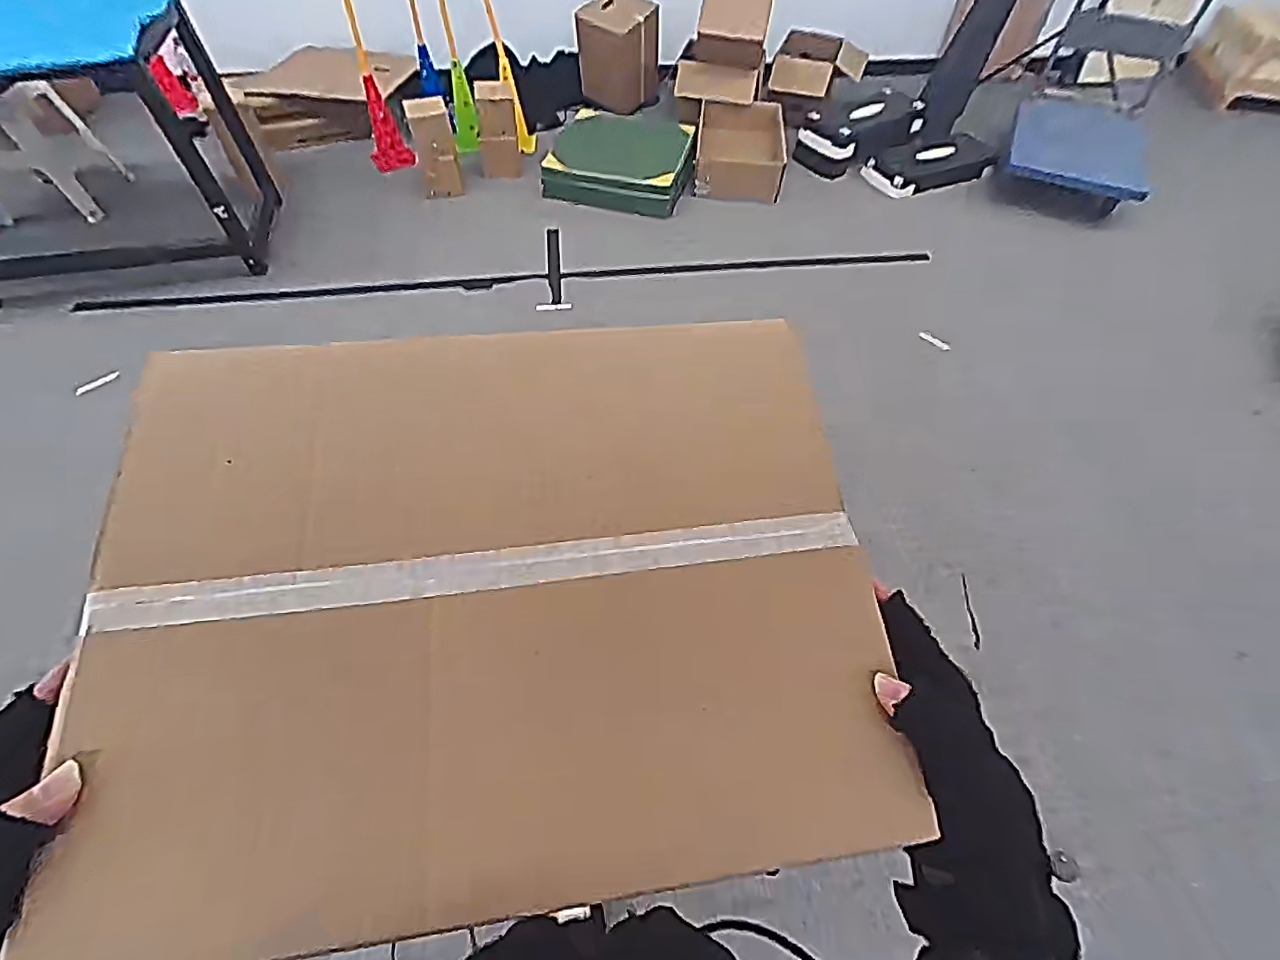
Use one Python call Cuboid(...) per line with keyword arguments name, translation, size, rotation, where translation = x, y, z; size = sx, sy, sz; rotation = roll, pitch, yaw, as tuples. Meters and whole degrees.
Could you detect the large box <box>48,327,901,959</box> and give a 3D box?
Cuboid(name="large box", translation=(-0.089, 0.107, 0.444), size=(0.408, 0.320, 0.320), rotation=(-5, 68, -7))
